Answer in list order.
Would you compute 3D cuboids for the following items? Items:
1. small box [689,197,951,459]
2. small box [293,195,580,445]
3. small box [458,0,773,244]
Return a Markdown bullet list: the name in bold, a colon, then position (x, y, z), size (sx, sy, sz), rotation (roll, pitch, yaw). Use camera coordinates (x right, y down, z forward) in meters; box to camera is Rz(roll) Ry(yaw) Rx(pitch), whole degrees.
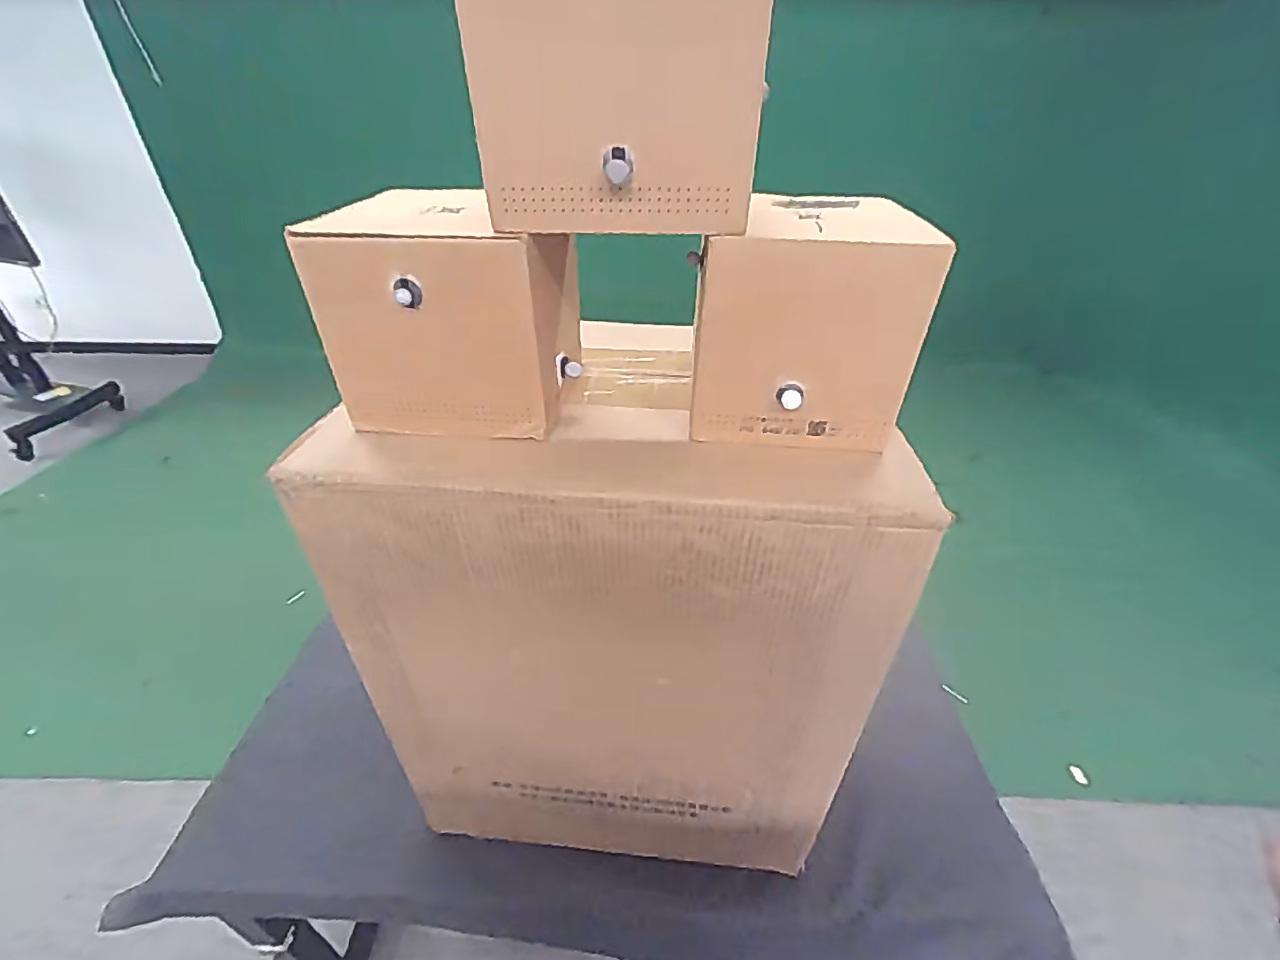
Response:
- **small box**: position (0.132, -0.140, 0.479), size (0.168, 0.176, 0.179), rotation (4, 38, 3)
- **small box**: position (-0.155, -0.145, 0.485), size (0.179, 0.176, 0.168), rotation (5, 38, 3)
- **small box**: position (-0.012, -0.274, 0.384), size (0.179, 0.176, 0.168), rotation (2, 37, 0)
